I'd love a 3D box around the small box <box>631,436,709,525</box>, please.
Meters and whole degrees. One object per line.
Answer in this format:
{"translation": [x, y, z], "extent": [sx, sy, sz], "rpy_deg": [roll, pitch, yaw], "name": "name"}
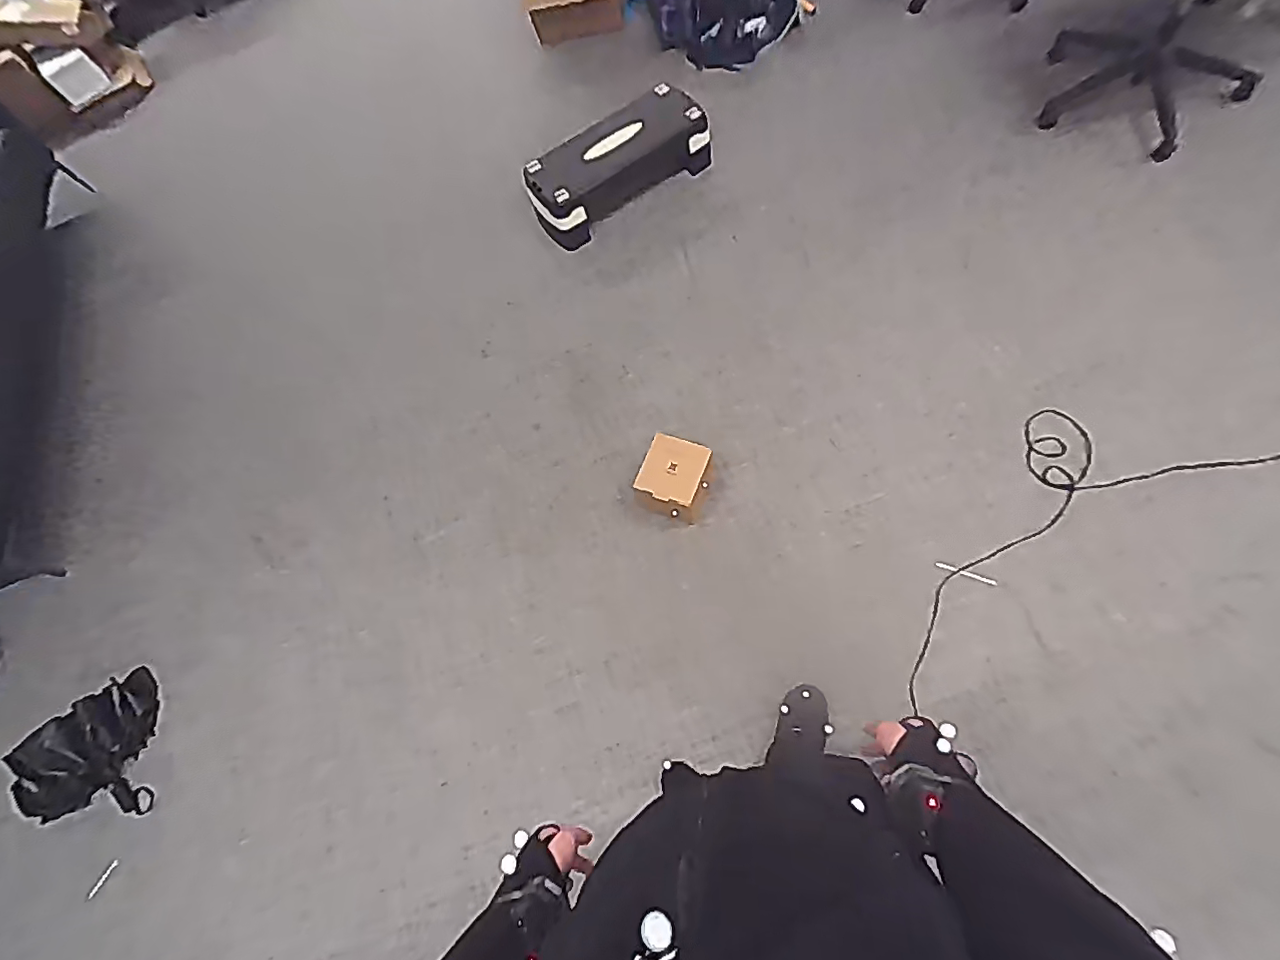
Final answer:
{"translation": [0.093, 0.008, 1.526], "extent": [0.168, 0.176, 0.179], "rpy_deg": [18, 71, 16], "name": "small box"}
